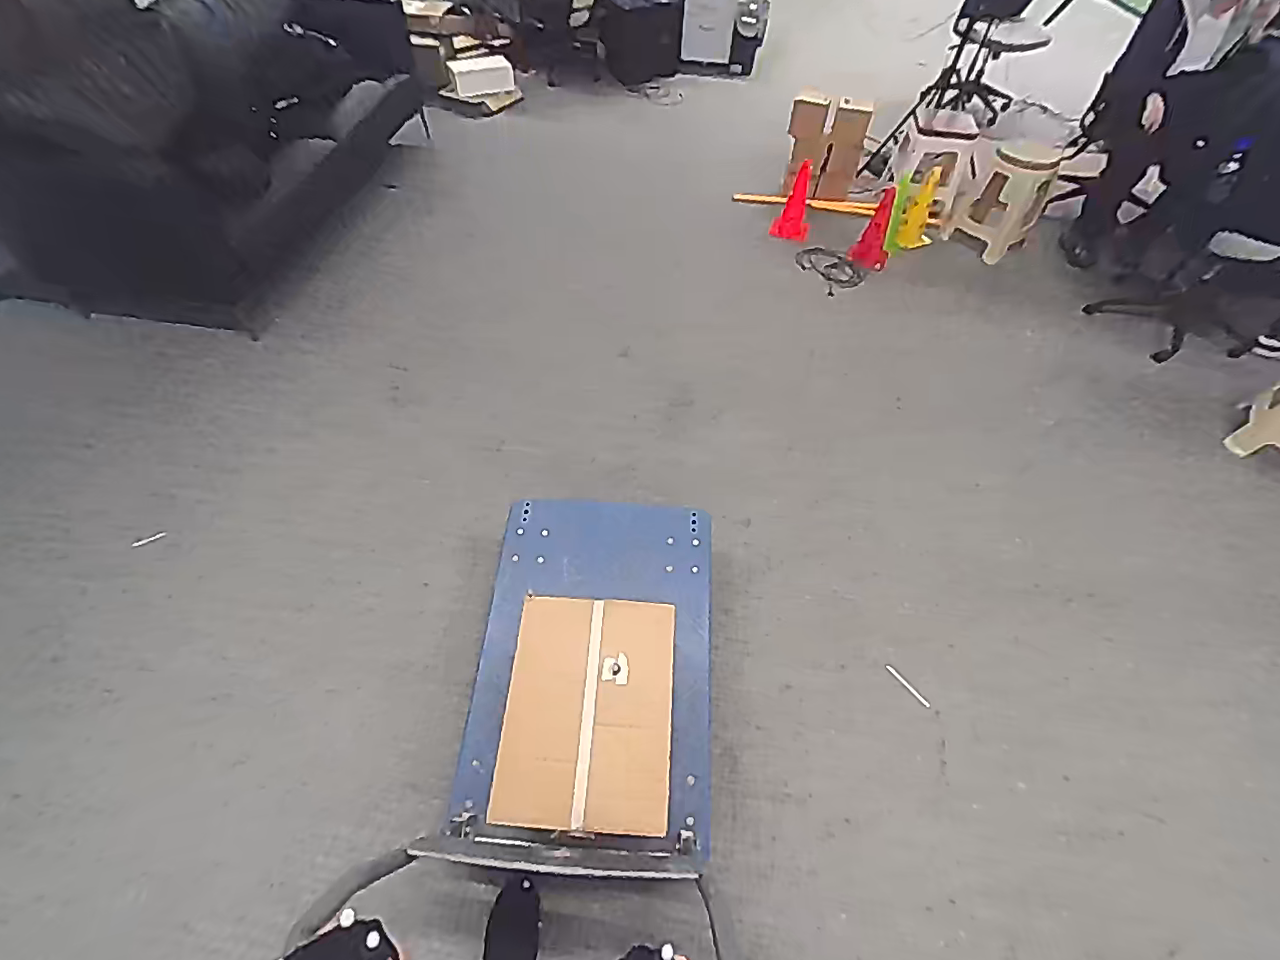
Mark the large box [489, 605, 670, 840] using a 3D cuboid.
[{"bbox_3d":[-0.101,0.512,1.145,0.320,0.320,0.408,3,60,1],"label":"large box"}]
